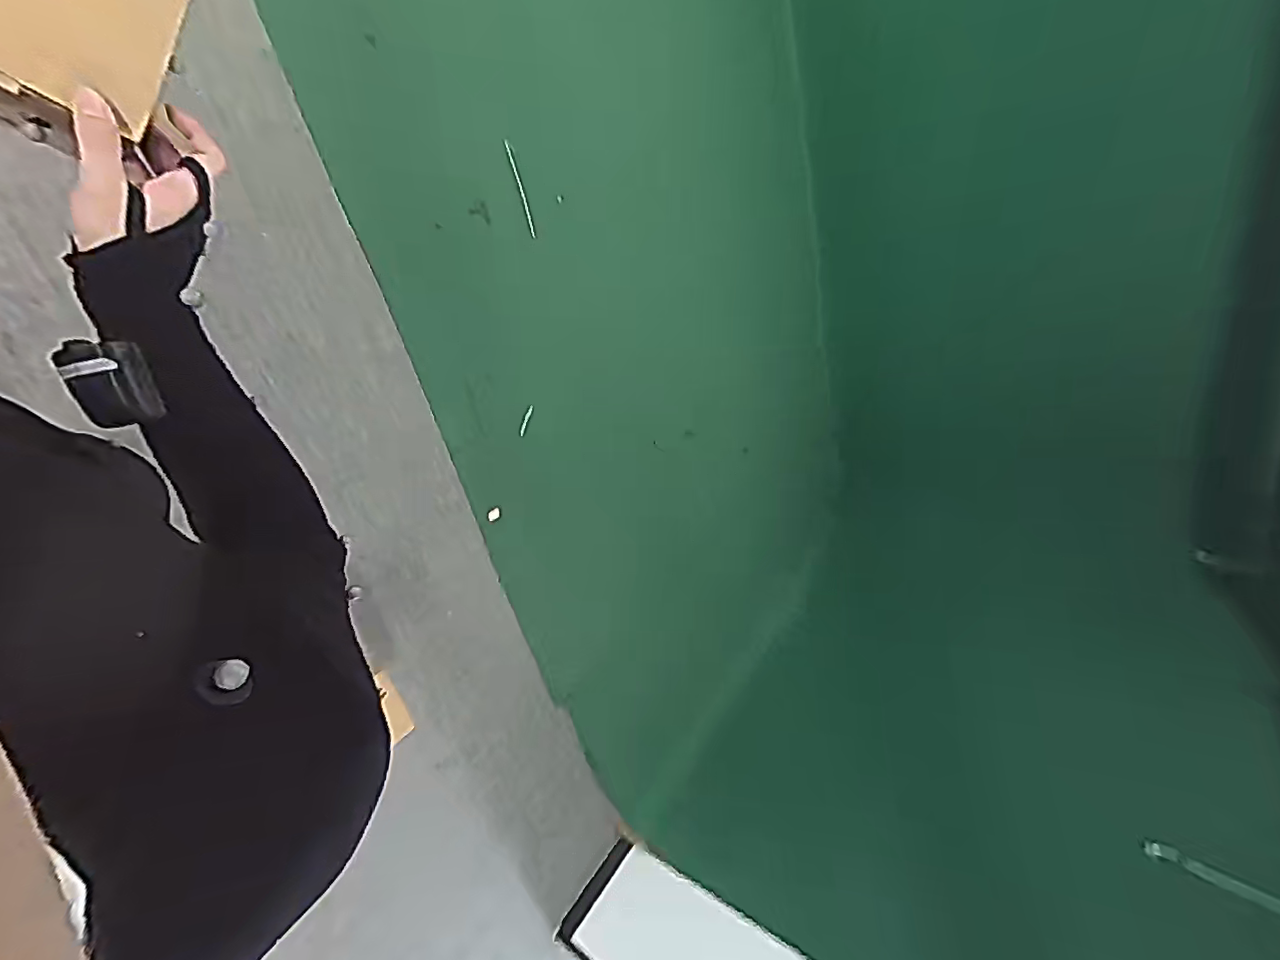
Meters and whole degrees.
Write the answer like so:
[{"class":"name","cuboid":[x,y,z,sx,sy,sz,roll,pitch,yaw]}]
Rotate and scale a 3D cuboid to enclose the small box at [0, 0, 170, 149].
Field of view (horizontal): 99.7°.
[{"class":"small box","cuboid":[-0.450,-0.363,0.371,0.168,0.176,0.179,19,89,-54]}]
